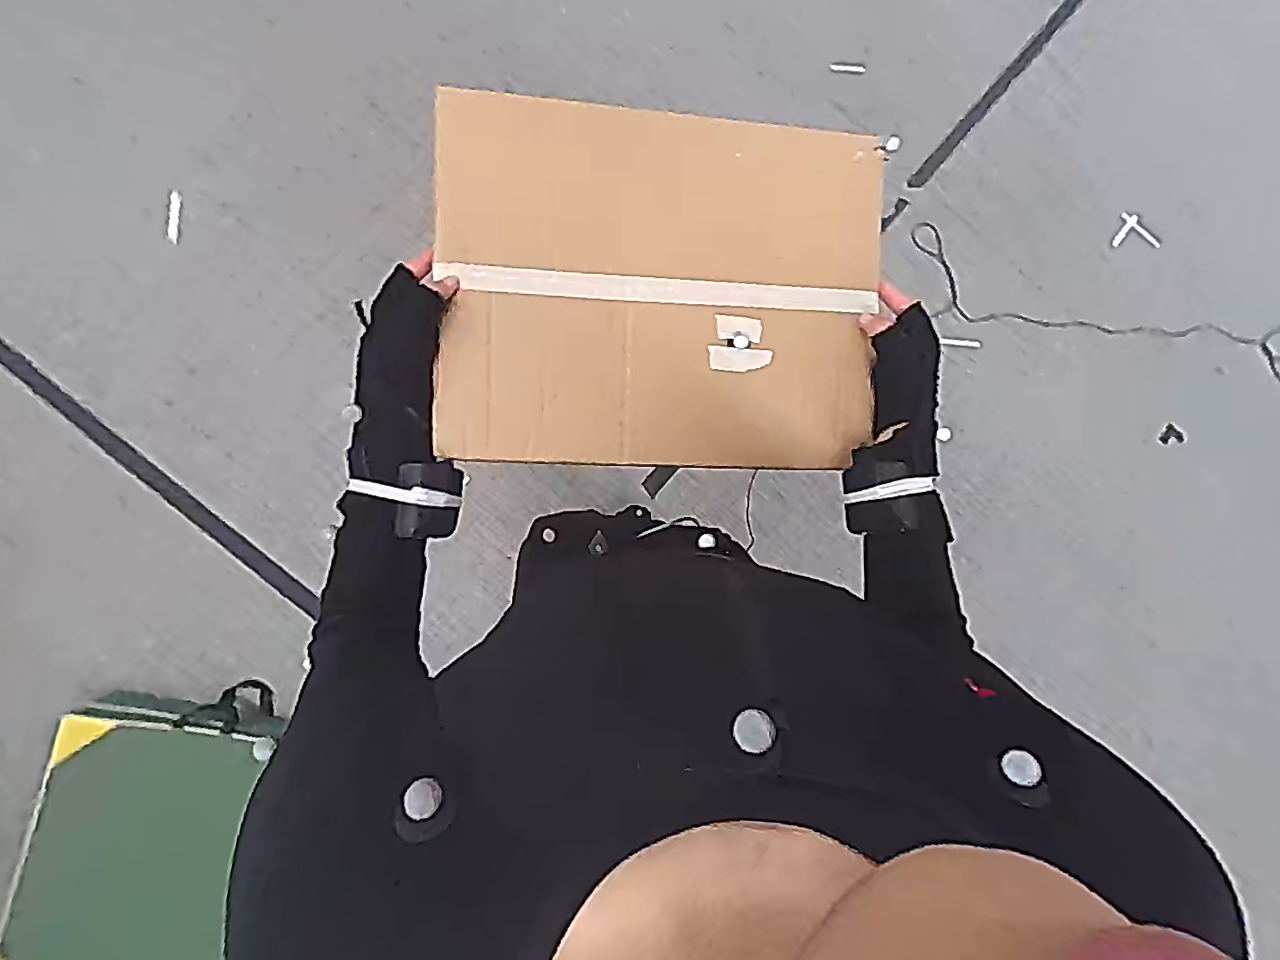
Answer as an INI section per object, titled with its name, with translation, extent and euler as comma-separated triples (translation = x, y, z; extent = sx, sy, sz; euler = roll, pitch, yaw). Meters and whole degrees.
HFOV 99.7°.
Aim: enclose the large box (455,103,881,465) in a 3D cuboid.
[large box]
translation = 0.012, -0.180, 0.651
extent = 0.408, 0.320, 0.320
euler = 2, 94, -8
